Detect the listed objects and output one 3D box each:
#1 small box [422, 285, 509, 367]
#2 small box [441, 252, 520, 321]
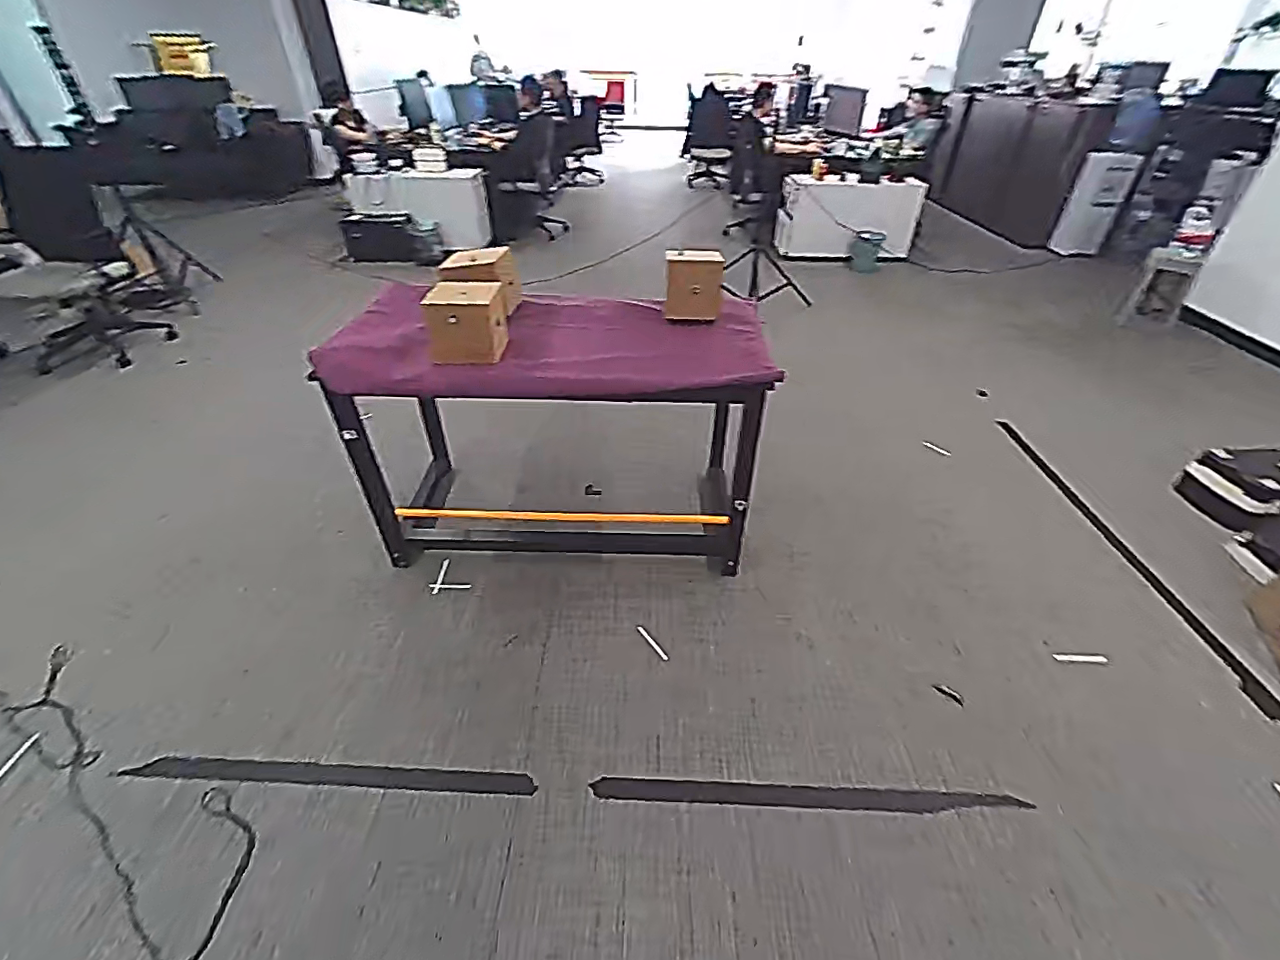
[{"bbox_3d":[-0.464,-0.418,1.472,0.179,0.176,0.168,0,38,-1],"label":"small box"},{"bbox_3d":[-0.483,-0.597,1.680,0.179,0.168,0.176,-3,36,7],"label":"small box"}]
